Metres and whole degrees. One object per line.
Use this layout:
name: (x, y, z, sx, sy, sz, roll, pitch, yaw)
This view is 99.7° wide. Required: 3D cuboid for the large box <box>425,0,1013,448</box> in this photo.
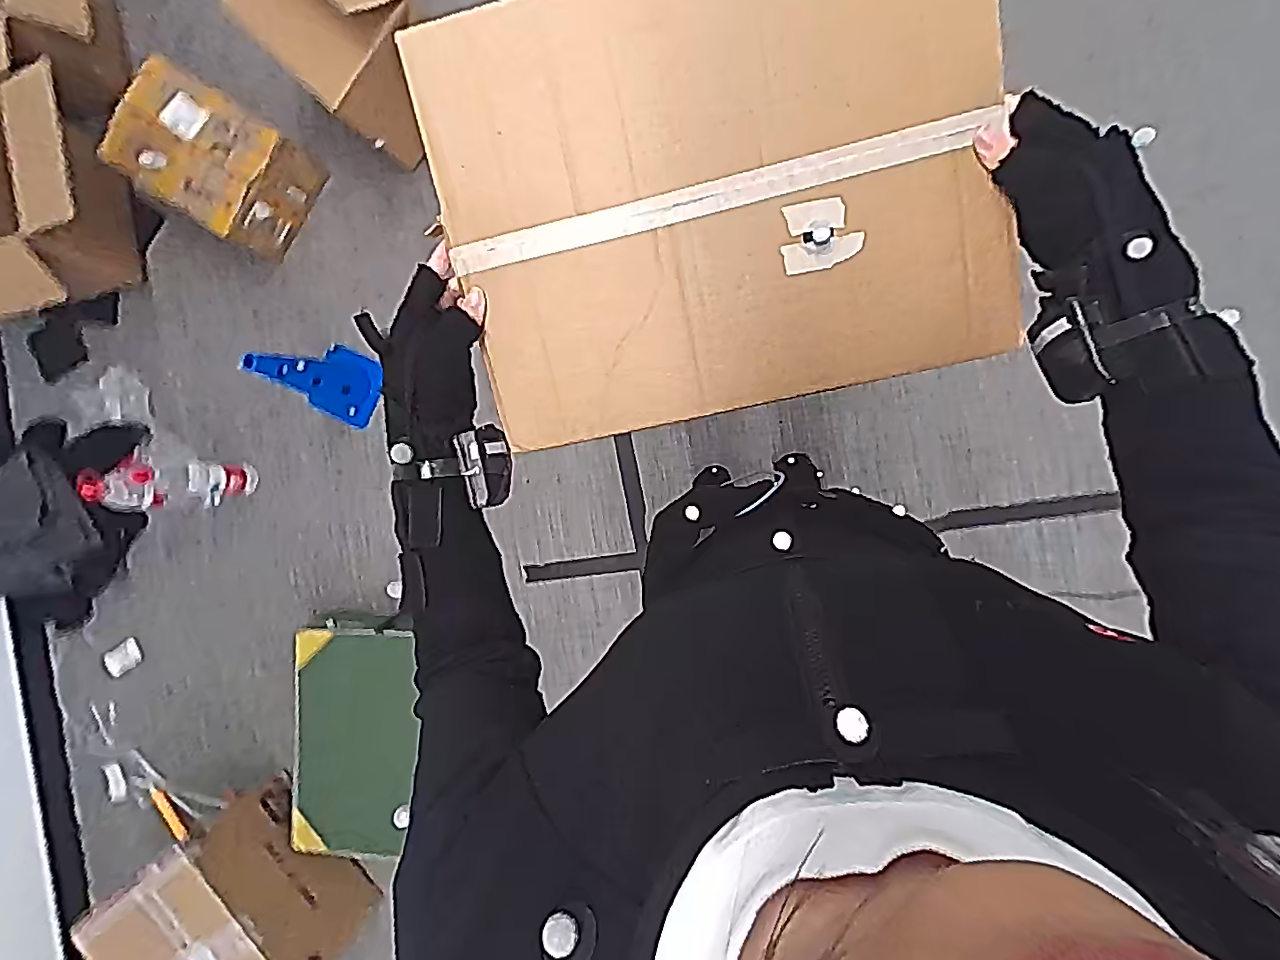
large box: (0.071, -0.243, 0.554, 0.408, 0.320, 0.320, -11, 102, 6)
